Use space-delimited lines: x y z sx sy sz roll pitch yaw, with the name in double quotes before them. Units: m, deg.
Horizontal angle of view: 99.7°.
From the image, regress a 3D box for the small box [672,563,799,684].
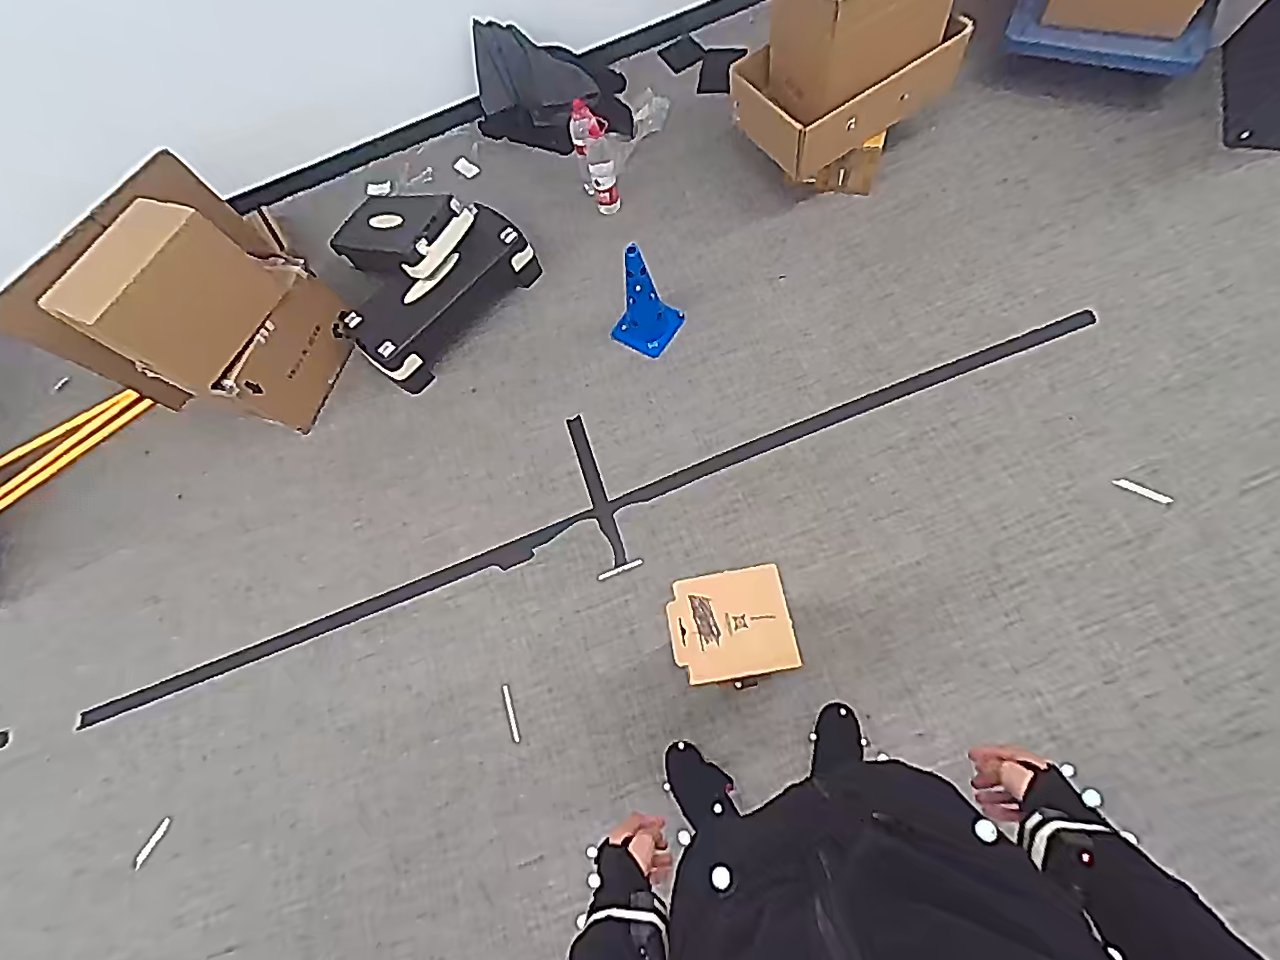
"small box" 0.160 0.255 0.936 0.179 0.176 0.168 -11 69 4
